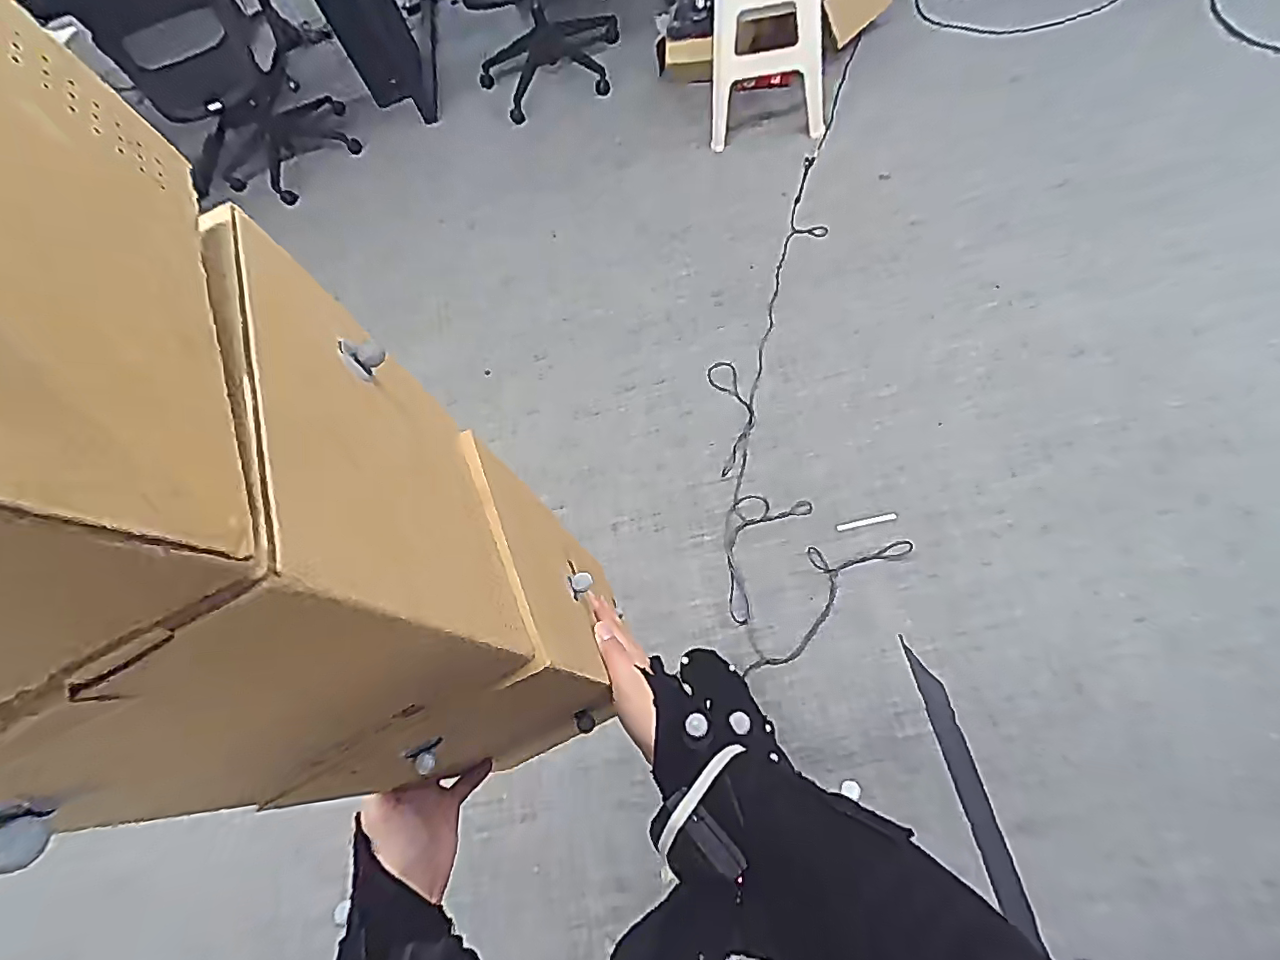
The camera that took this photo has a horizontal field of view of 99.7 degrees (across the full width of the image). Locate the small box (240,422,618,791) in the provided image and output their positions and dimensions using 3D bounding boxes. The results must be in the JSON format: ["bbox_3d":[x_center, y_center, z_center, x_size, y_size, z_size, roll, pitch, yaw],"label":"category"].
[{"bbox_3d":[-0.137,0.096,0.386,0.179,0.176,0.168,-26,63,-1],"label":"small box"}]
